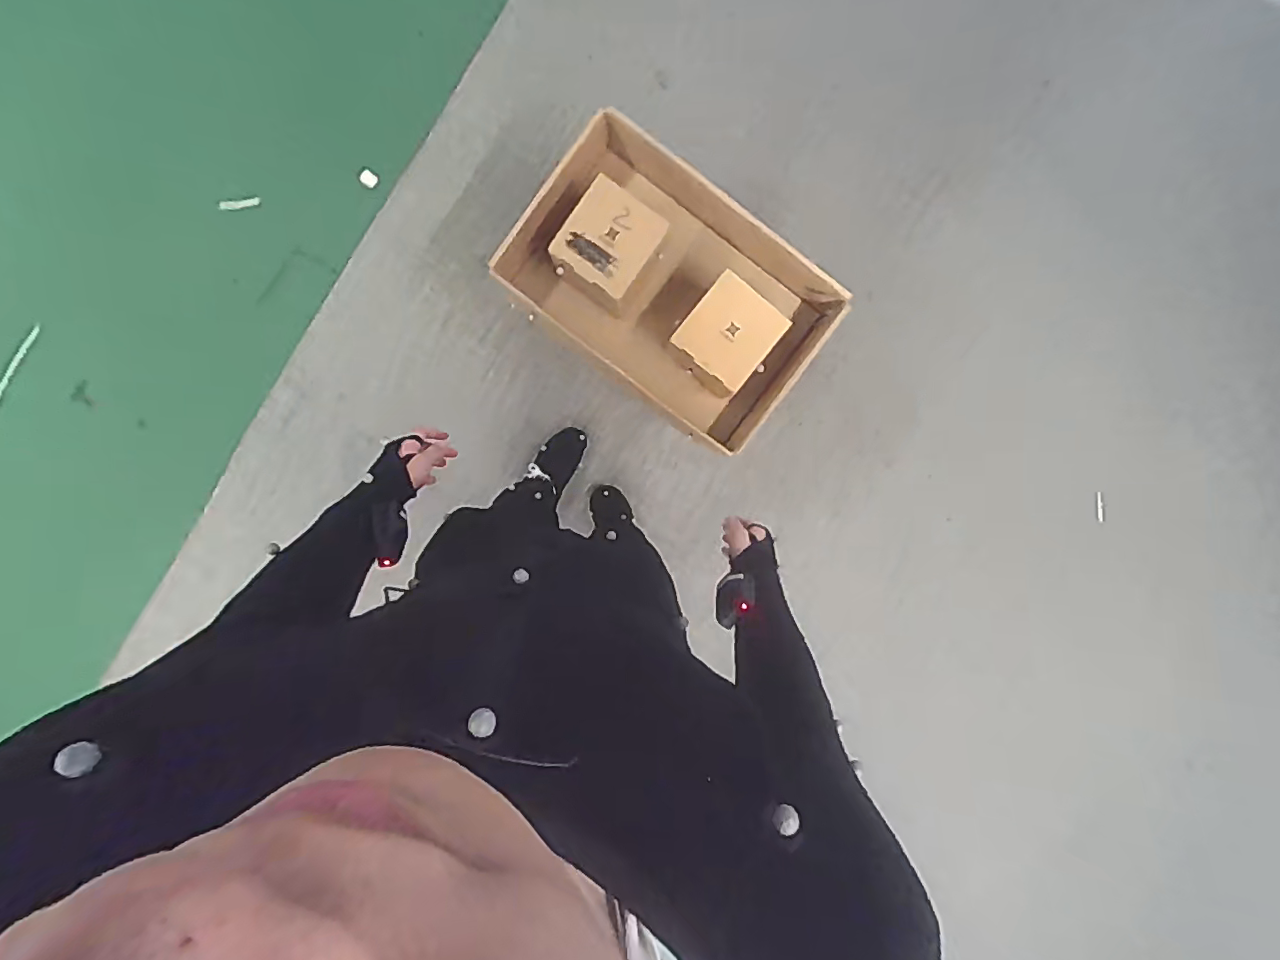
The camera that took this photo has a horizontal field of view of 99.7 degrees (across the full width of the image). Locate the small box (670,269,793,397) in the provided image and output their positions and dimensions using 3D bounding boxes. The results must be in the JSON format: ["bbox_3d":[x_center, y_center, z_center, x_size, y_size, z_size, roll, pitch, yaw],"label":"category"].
[{"bbox_3d":[0.174,-0.288,1.103,0.168,0.176,0.179,39,93,-4],"label":"small box"}]
